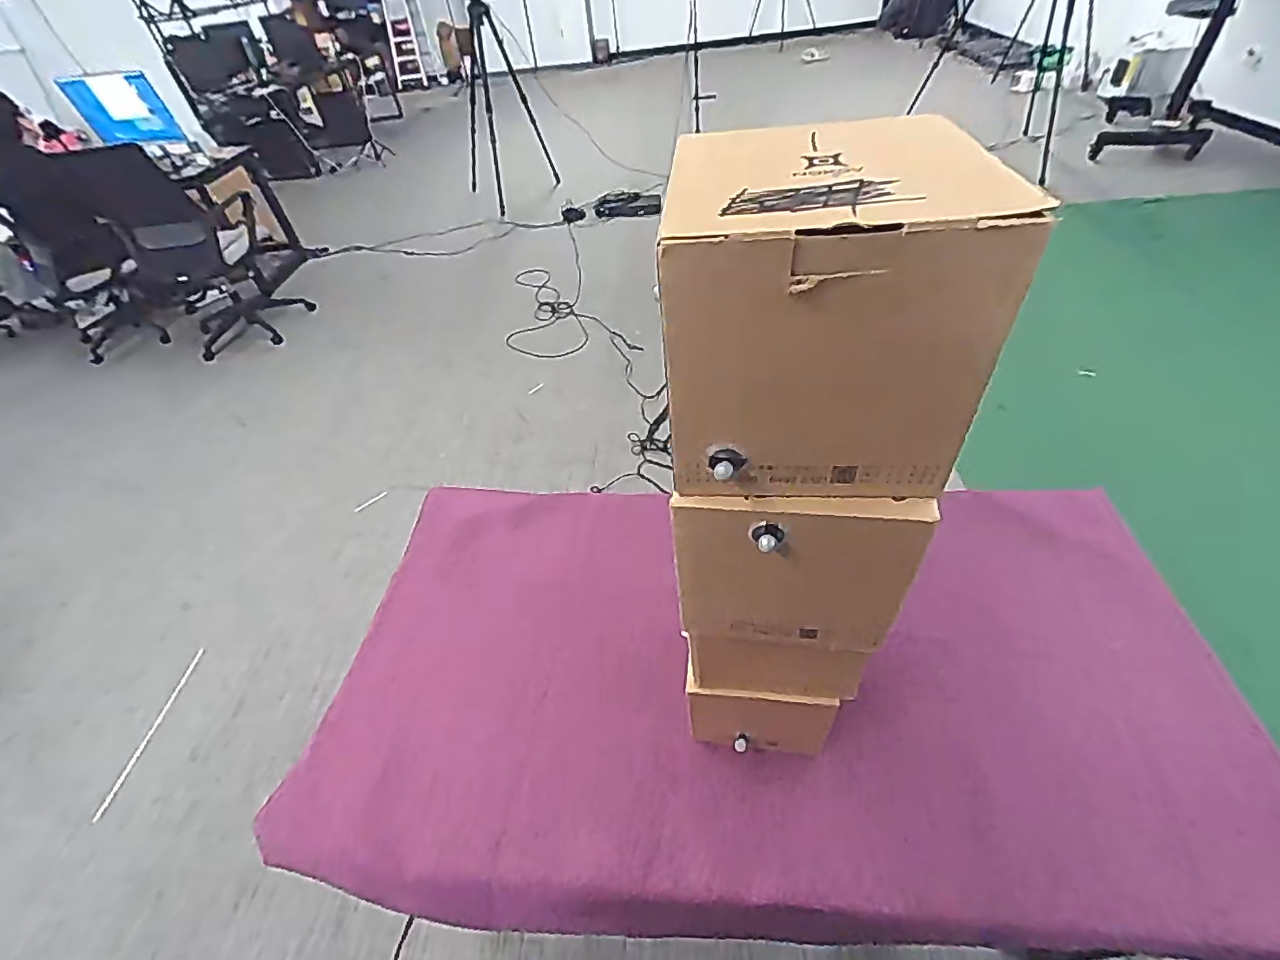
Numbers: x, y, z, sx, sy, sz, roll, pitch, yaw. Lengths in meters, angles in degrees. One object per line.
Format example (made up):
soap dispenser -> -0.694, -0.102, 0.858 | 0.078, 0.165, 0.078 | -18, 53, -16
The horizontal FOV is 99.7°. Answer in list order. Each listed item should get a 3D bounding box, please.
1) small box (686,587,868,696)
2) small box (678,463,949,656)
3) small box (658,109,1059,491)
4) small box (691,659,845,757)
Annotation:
small box -> 0.146, 0.115, 0.580 | 0.179, 0.176, 0.168 | 1, 46, 10
small box -> 0.126, 0.018, 0.447 | 0.168, 0.176, 0.179 | 2, 45, 12
small box -> 0.107, -0.107, 0.341 | 0.168, 0.176, 0.179 | 0, 45, 8
small box -> 0.157, 0.229, 0.695 | 0.168, 0.176, 0.179 | 1, 47, 11
